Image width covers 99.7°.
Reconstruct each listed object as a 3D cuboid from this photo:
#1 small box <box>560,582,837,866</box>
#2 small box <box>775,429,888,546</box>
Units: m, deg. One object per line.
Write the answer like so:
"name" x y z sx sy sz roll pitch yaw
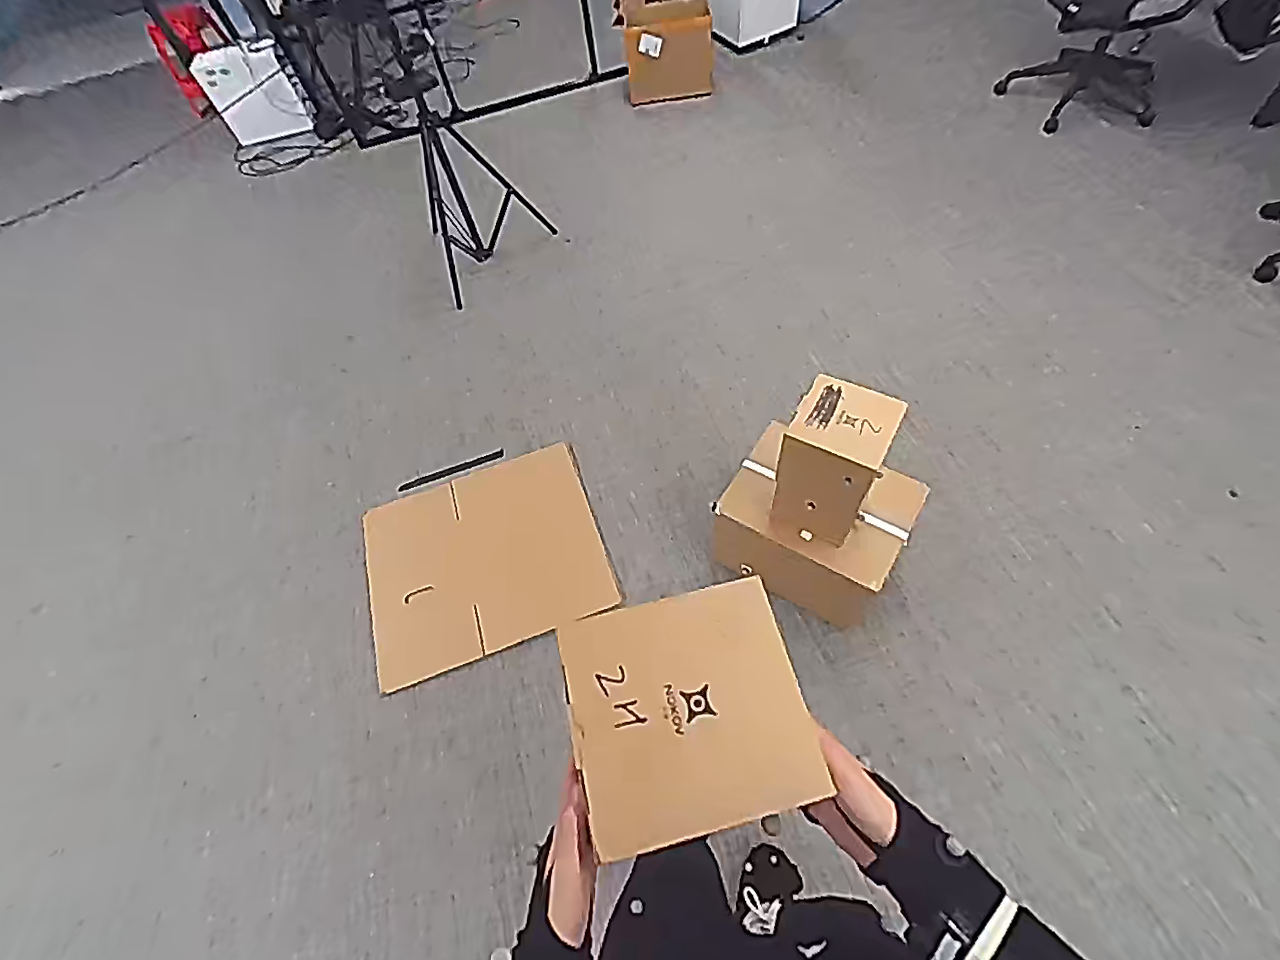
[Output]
"small box" 0.038 0.206 0.476 0.179 0.176 0.168 -13 63 -5
"small box" 0.413 0.022 1.196 0.179 0.176 0.168 25 66 20
